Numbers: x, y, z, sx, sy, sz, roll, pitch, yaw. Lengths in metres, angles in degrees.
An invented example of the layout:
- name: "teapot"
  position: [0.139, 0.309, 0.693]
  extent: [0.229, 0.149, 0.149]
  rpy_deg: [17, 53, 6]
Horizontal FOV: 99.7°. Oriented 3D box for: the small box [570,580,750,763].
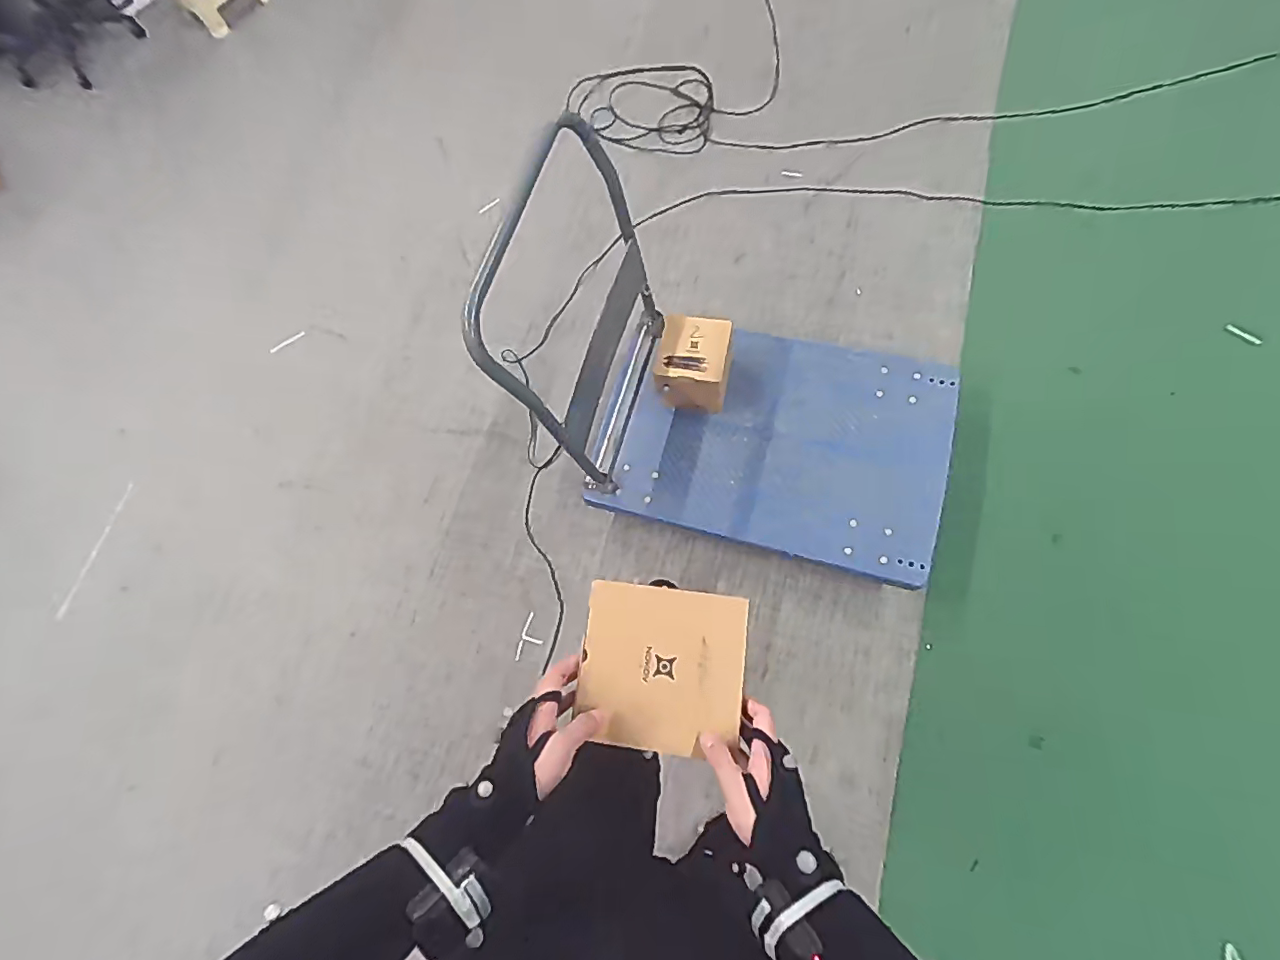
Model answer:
- name: "small box"
  position: [0.028, 0.222, 0.650]
  extent: [0.179, 0.176, 0.168]
  rpy_deg: [7, 74, 5]
